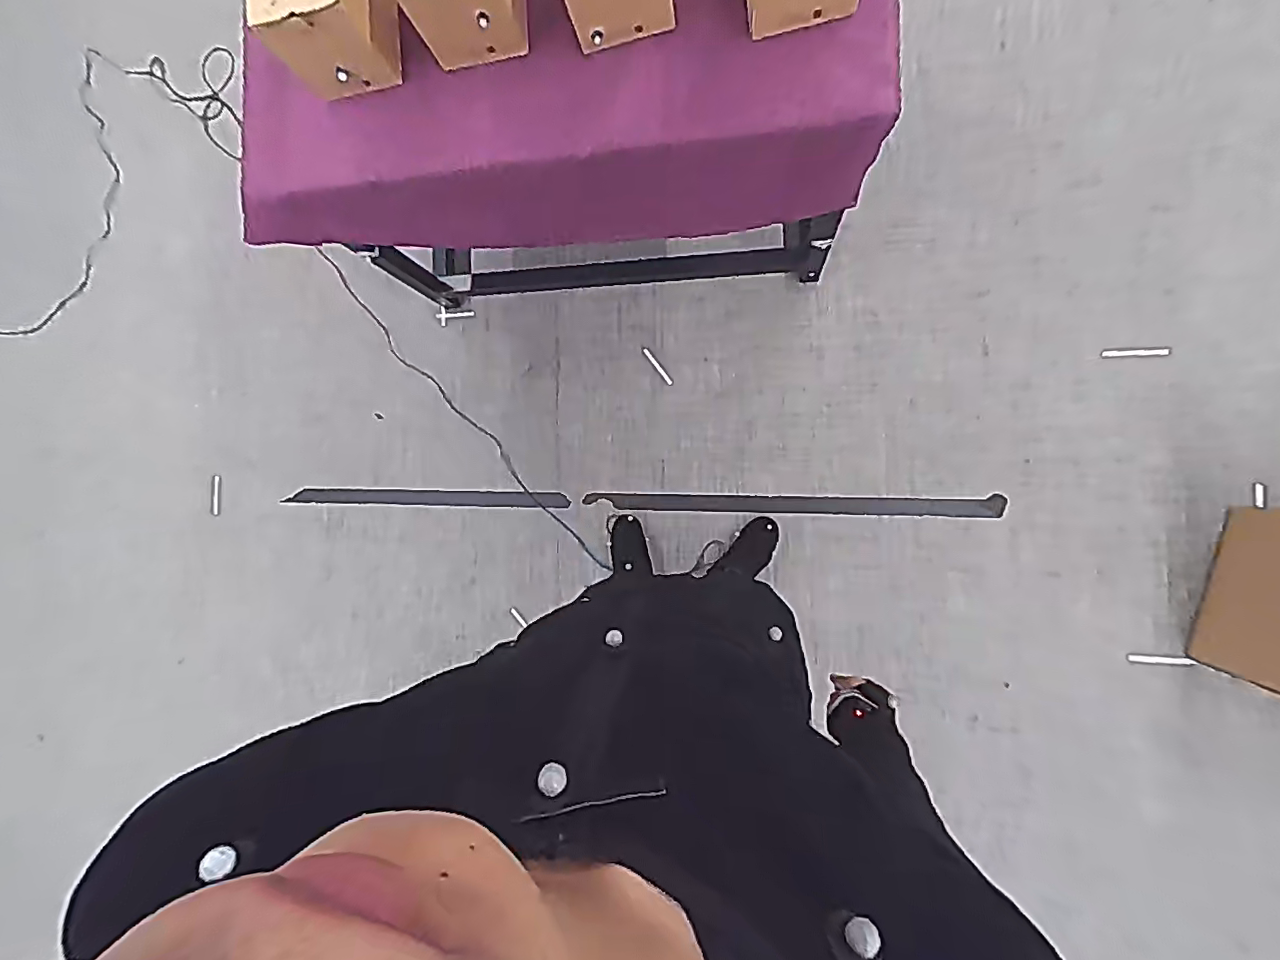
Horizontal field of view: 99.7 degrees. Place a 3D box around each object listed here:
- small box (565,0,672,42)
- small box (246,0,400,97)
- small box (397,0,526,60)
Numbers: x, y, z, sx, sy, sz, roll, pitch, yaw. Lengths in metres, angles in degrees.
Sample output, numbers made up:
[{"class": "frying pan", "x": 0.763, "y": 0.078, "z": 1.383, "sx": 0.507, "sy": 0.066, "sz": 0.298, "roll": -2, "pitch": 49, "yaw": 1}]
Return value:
[{"class": "small box", "x": -0.048, "y": -0.843, "z": 0.852, "sx": 0.168, "sy": 0.176, "sz": 0.179, "roll": -9, "pitch": 87, "yaw": 10}, {"class": "small box", "x": -0.543, "y": -0.820, "z": 0.940, "sx": 0.168, "sy": 0.176, "sz": 0.179, "roll": -5, "pitch": 88, "yaw": 11}, {"class": "small box", "x": -0.297, "y": -0.843, "z": 0.899, "sx": 0.168, "sy": 0.176, "sz": 0.179, "roll": -3, "pitch": 88, "yaw": 10}]
